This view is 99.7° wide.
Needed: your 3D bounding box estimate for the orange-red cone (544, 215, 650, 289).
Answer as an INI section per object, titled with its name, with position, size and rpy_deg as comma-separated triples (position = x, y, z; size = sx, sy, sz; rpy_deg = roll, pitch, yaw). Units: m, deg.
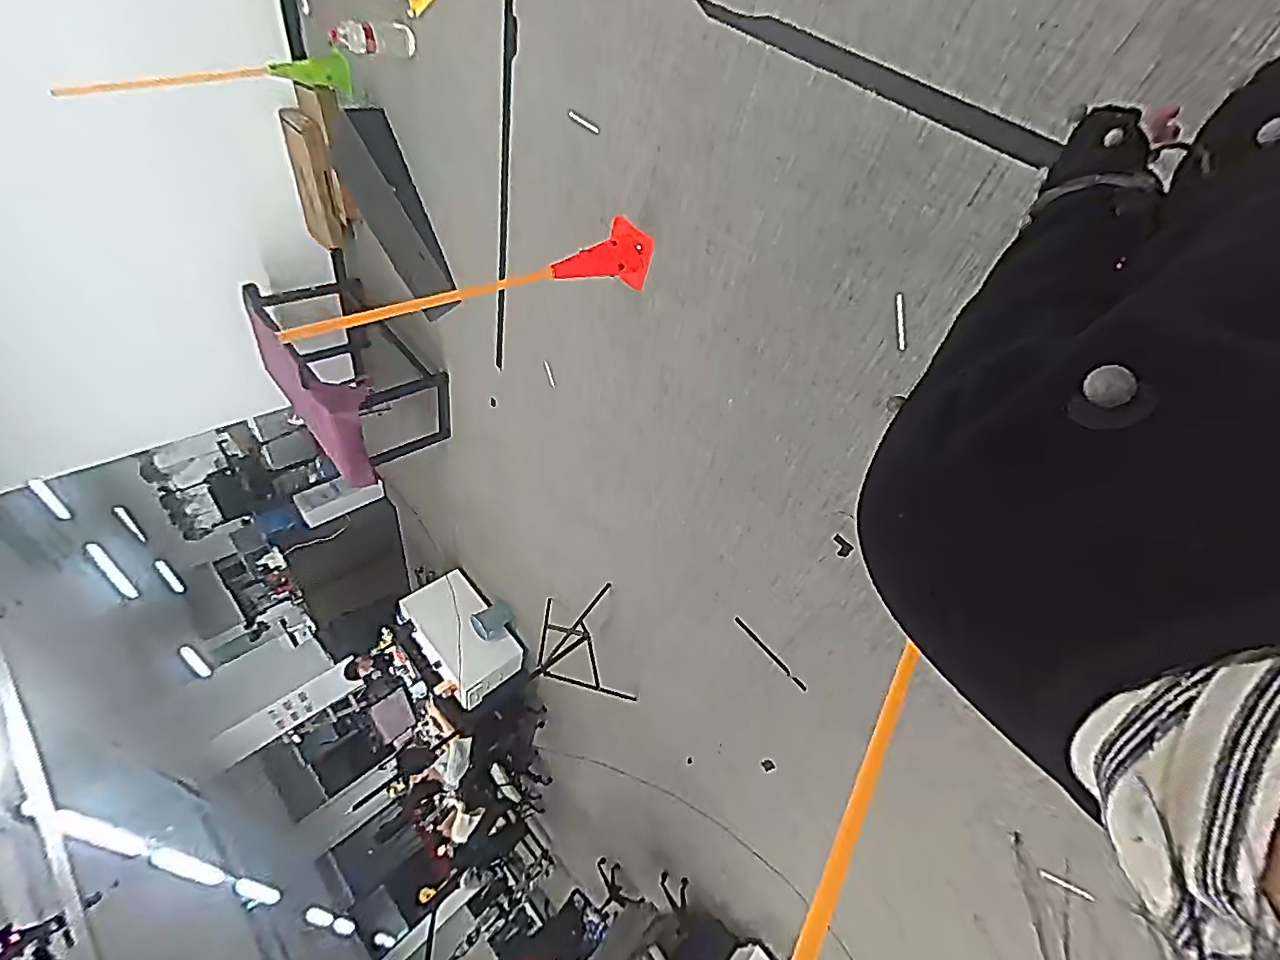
[orange-red cone]
position = -0.172, -0.739, 1.820
size = 0.199, 0.360, 0.198
rpy_deg = 46, 142, 19
